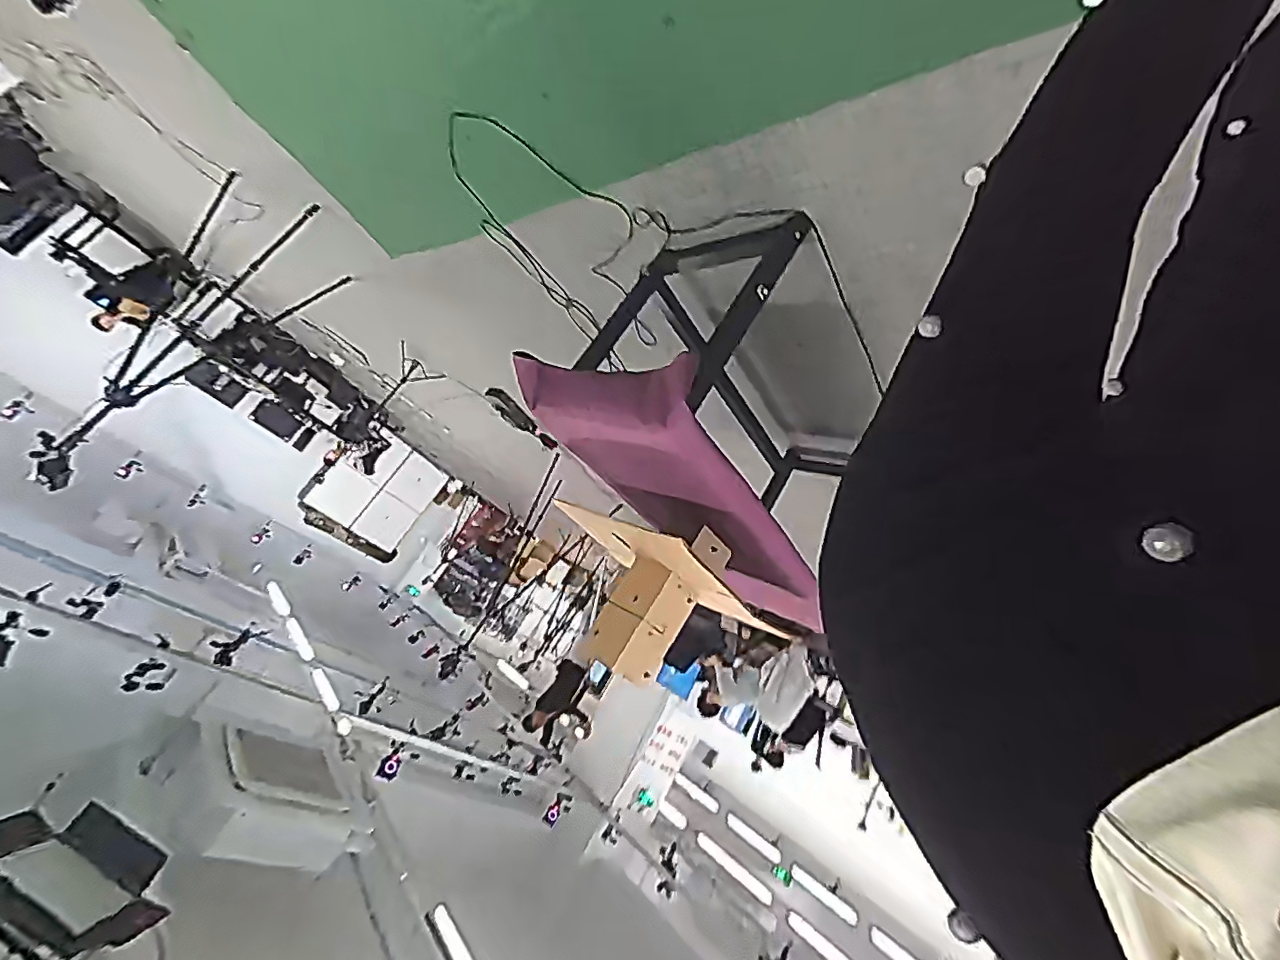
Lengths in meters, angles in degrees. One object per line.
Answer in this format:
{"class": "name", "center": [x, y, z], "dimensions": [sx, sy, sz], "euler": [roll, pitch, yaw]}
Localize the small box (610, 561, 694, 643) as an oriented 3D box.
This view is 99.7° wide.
{"class": "small box", "center": [0.045, 0.376, 1.689], "dimensions": [0.179, 0.176, 0.168], "euler": [12, 151, 50]}
